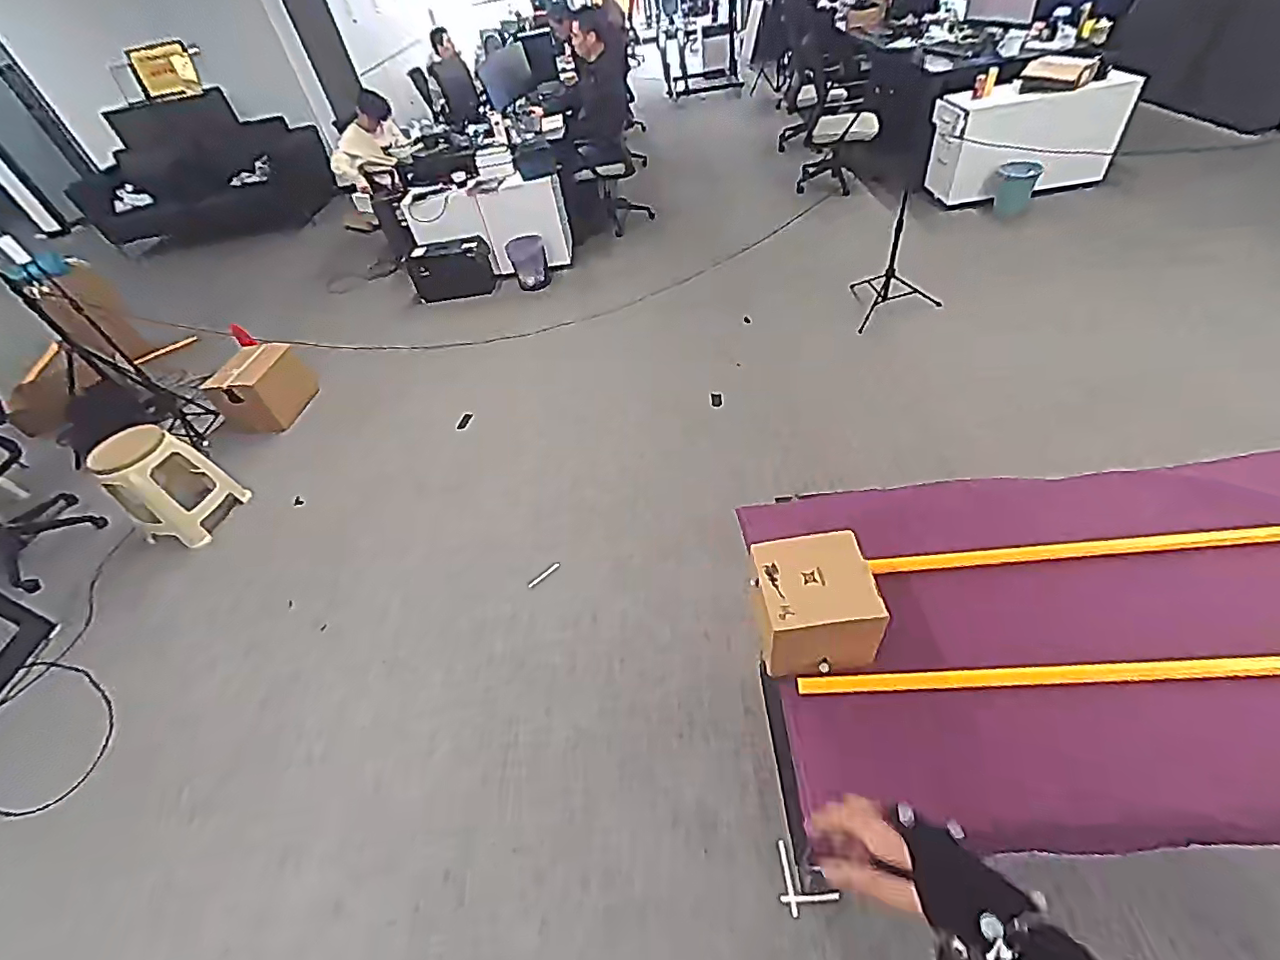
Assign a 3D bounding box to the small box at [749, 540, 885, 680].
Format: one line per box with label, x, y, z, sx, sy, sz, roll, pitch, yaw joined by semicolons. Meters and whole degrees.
small box;0.288;0.226;0.927;0.179;0.176;0.168;-8;46;3
